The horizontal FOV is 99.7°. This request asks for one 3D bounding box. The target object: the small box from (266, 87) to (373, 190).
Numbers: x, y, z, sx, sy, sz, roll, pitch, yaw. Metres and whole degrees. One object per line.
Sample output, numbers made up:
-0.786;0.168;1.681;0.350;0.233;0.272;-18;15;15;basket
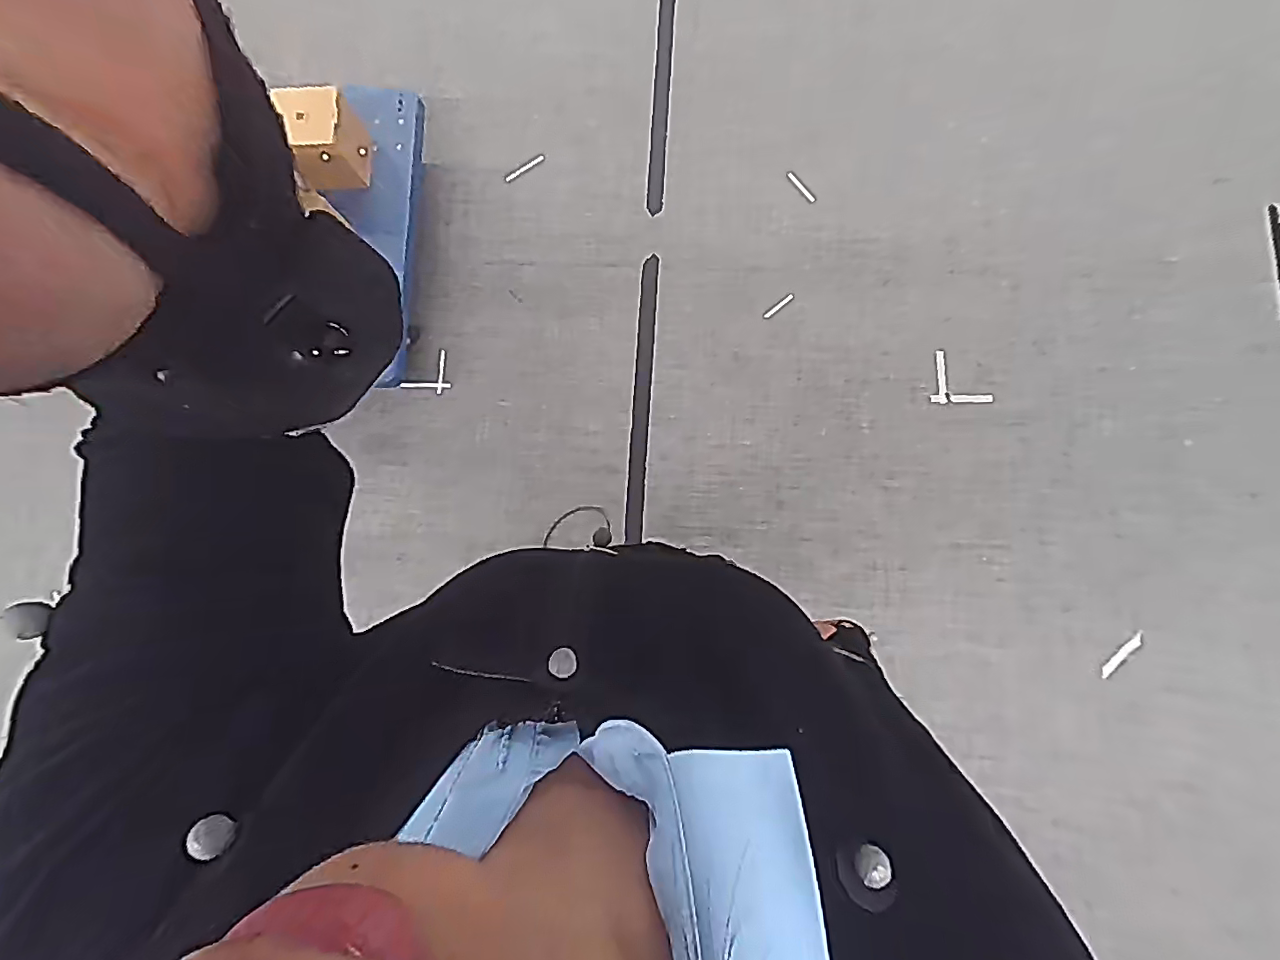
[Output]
-0.837;-0.892;1.425;0.179;0.176;0.168;-2;82;1;small box
